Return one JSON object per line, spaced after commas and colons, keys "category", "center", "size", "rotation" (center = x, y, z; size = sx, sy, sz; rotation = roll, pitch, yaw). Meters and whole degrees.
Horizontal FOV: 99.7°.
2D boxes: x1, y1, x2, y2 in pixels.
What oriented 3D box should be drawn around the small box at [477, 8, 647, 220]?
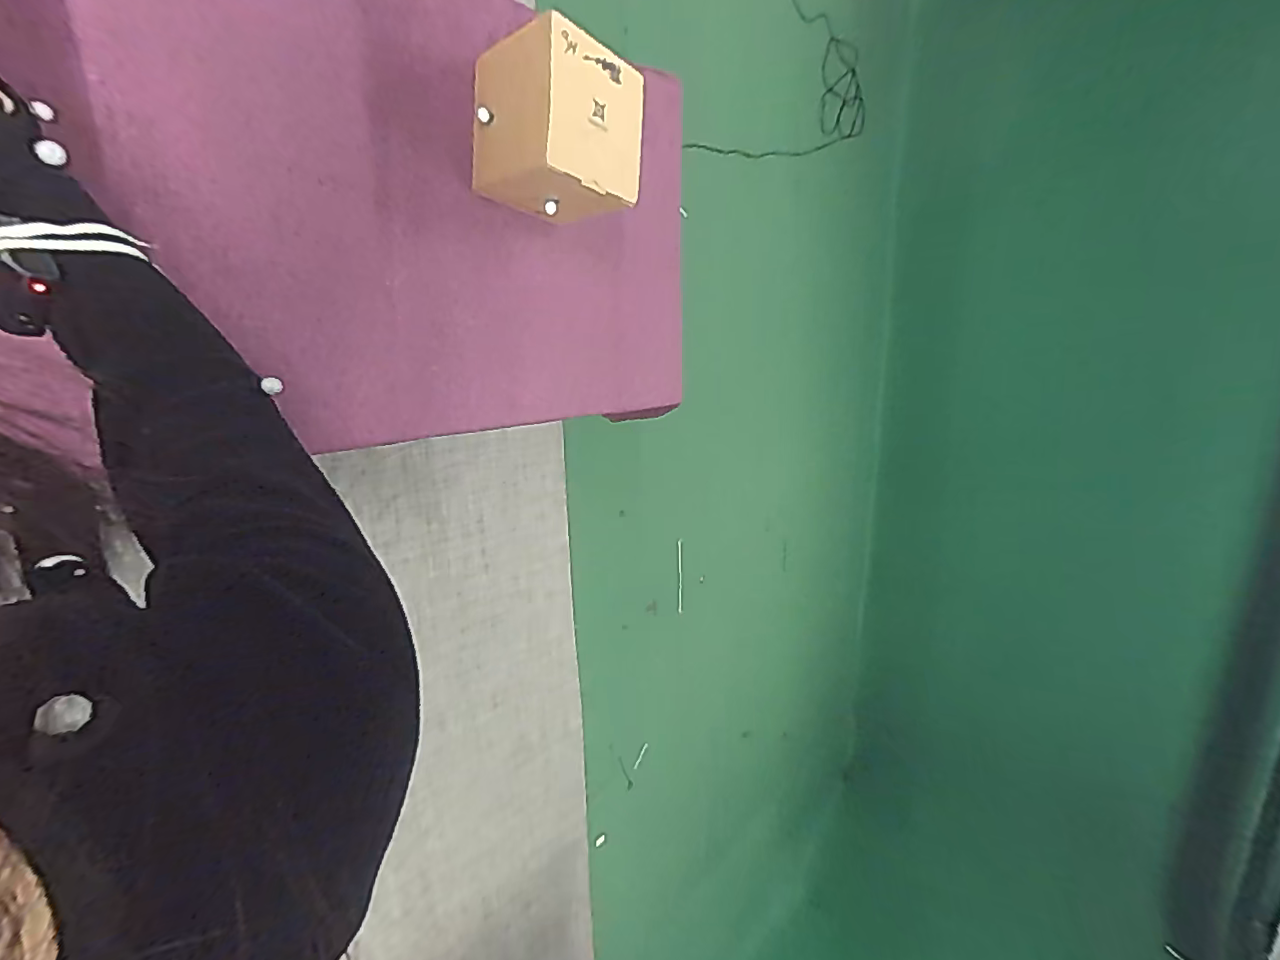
{"category": "small box", "center": [-0.111, -0.483, 0.753], "size": [0.168, 0.176, 0.179], "rotation": [-5, 102, -48]}
